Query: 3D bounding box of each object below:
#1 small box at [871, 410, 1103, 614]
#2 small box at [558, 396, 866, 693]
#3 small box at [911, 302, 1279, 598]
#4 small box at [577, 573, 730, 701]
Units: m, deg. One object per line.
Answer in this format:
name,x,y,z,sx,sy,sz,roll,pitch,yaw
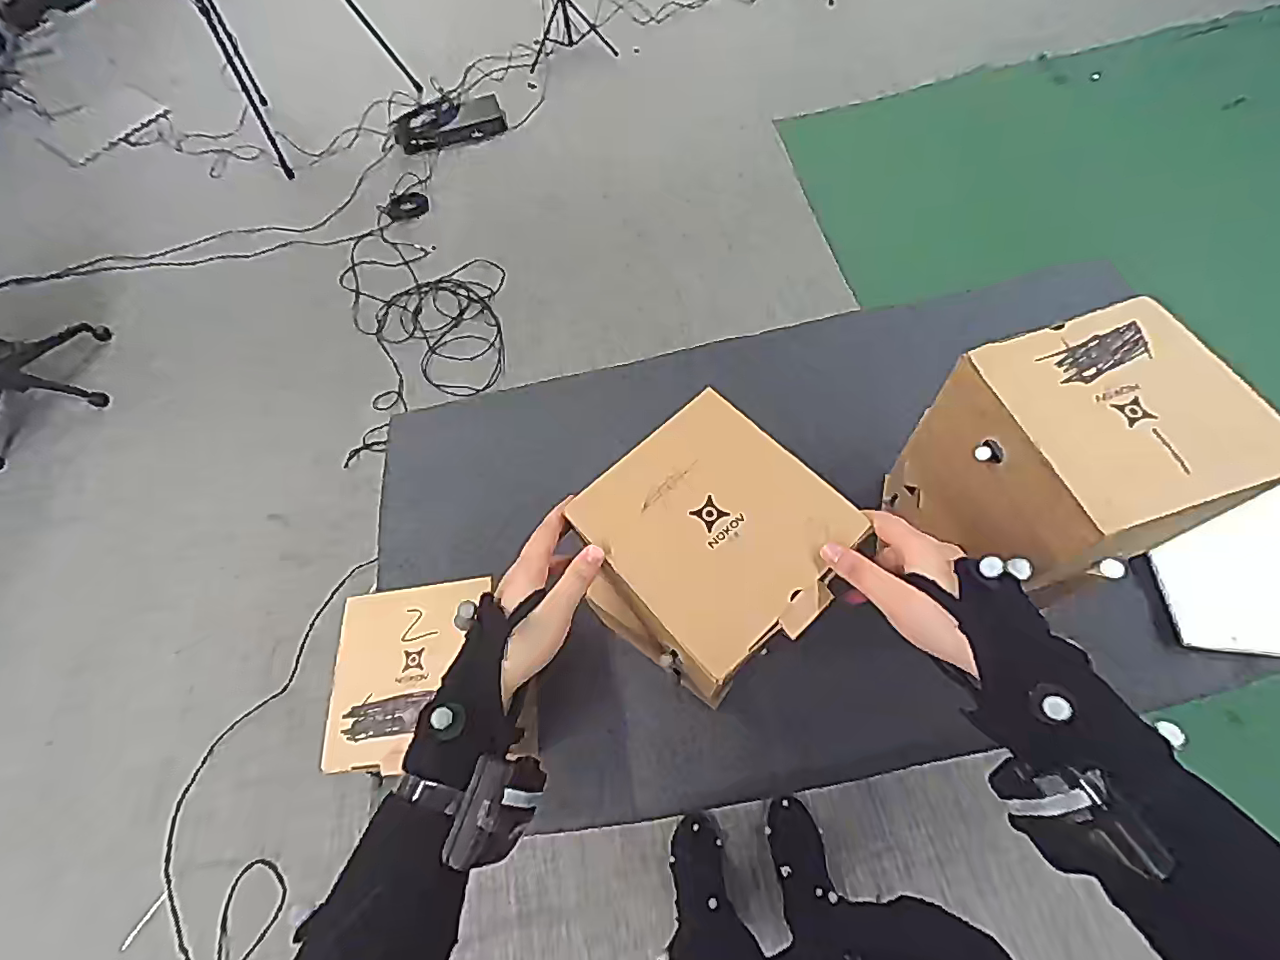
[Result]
small box,0.391,0.045,0.633,0.179,0.176,0.168,13,65,15
small box,0.058,0.067,0.479,0.168,0.176,0.179,-40,66,-15
small box,0.376,-0.018,0.480,0.168,0.176,0.179,-18,62,-1
small box,0.059,0.137,0.629,0.179,0.176,0.168,33,71,21
